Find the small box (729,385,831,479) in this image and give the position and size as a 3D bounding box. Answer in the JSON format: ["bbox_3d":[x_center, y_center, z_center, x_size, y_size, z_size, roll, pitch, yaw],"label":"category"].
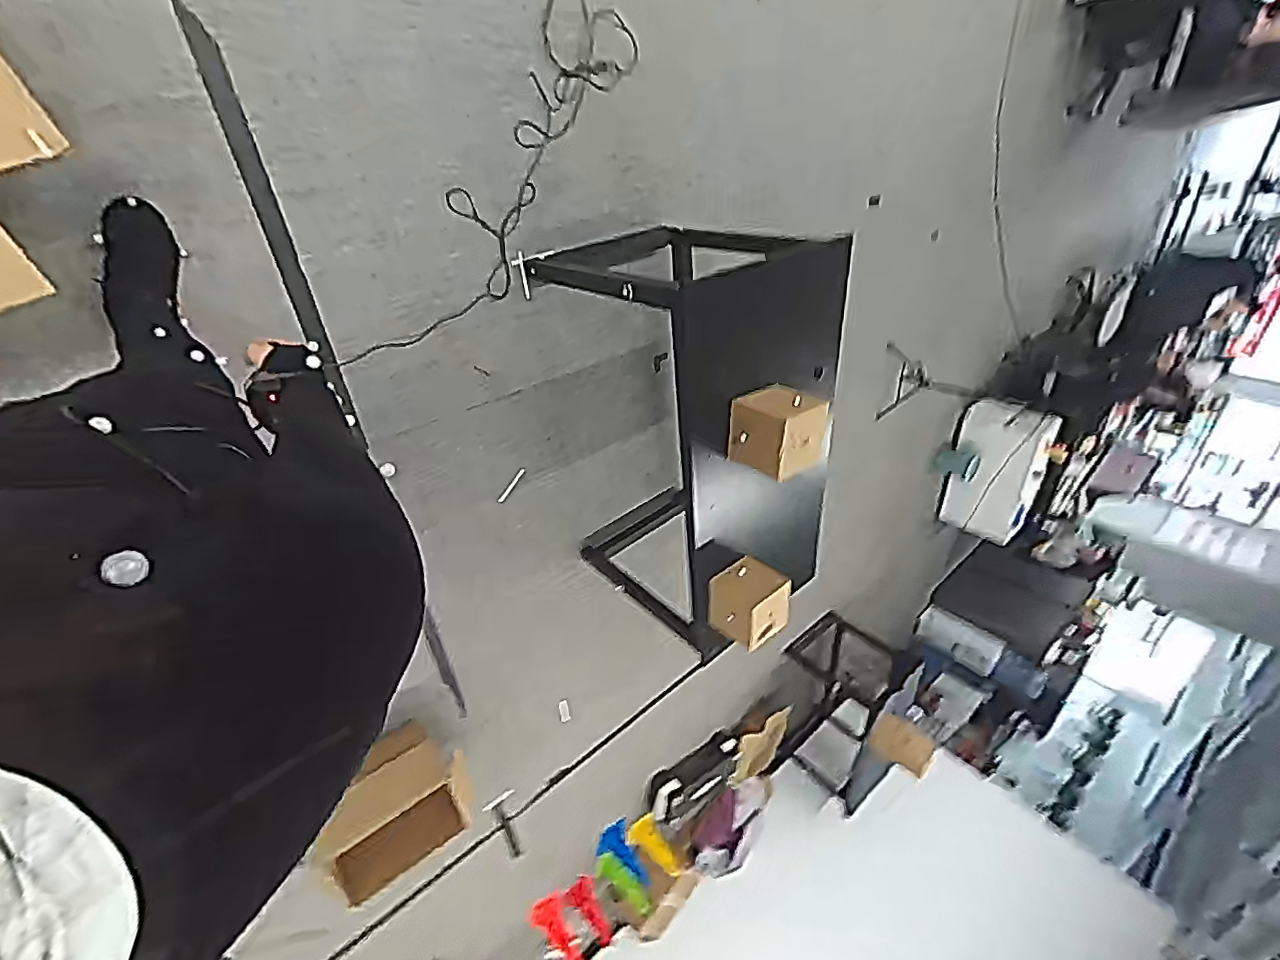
[{"bbox_3d":[0.349,-0.129,1.367,0.179,0.176,0.168,-22,125,-33],"label":"small box"}]

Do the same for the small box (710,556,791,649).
[{"bbox_3d":[0.323,0.358,1.608,0.168,0.176,0.179,-26,126,-32],"label":"small box"}]
